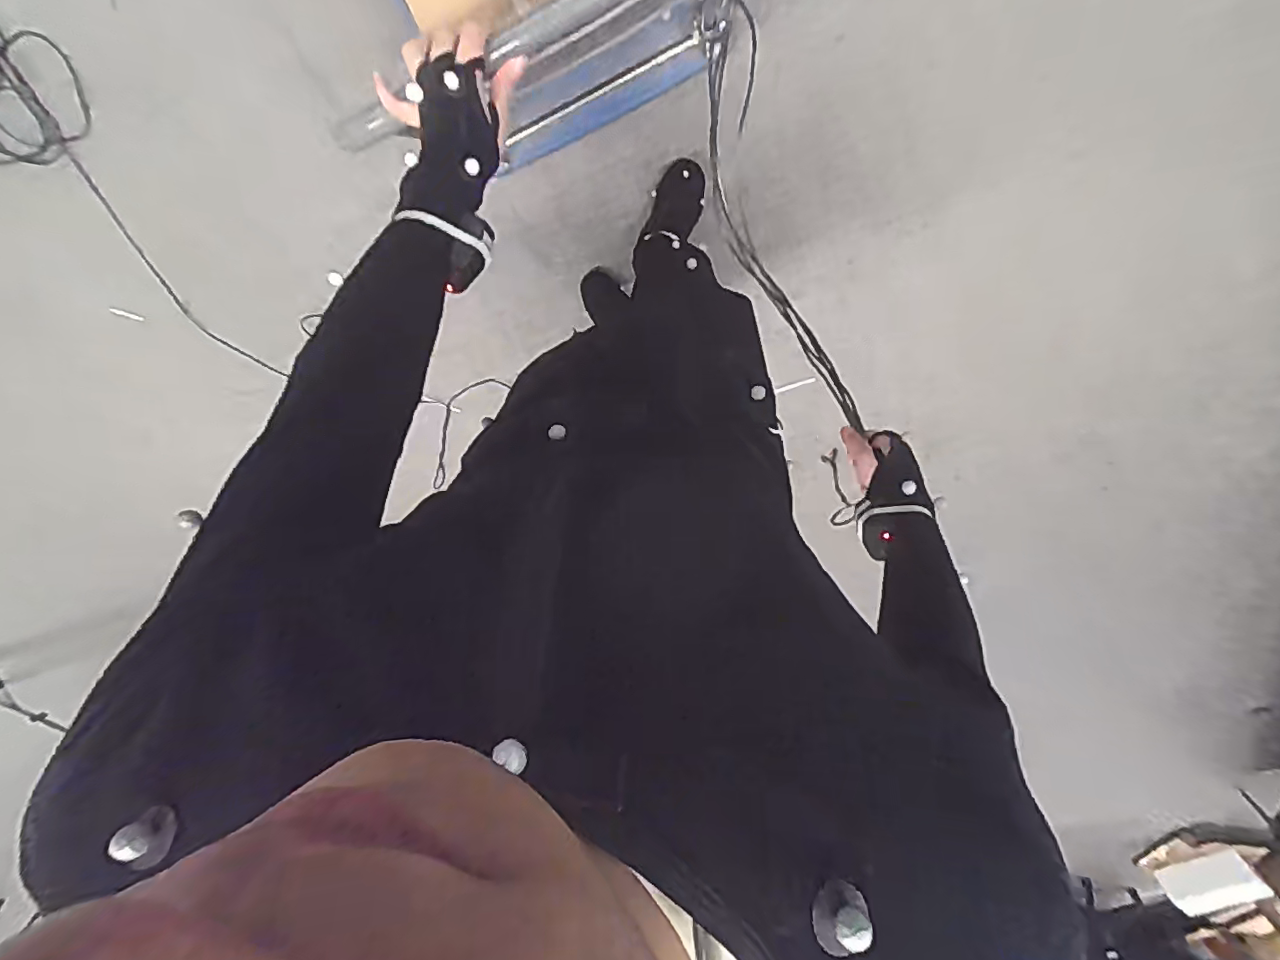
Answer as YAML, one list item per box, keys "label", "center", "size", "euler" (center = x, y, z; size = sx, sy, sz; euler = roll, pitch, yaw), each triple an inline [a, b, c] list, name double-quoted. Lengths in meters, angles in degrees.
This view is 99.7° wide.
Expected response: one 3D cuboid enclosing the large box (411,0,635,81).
- label: "large box"
  center: [-0.228, -0.917, 0.827]
  size: [0.320, 0.320, 0.408]
  euler: [-17, 120, 13]
